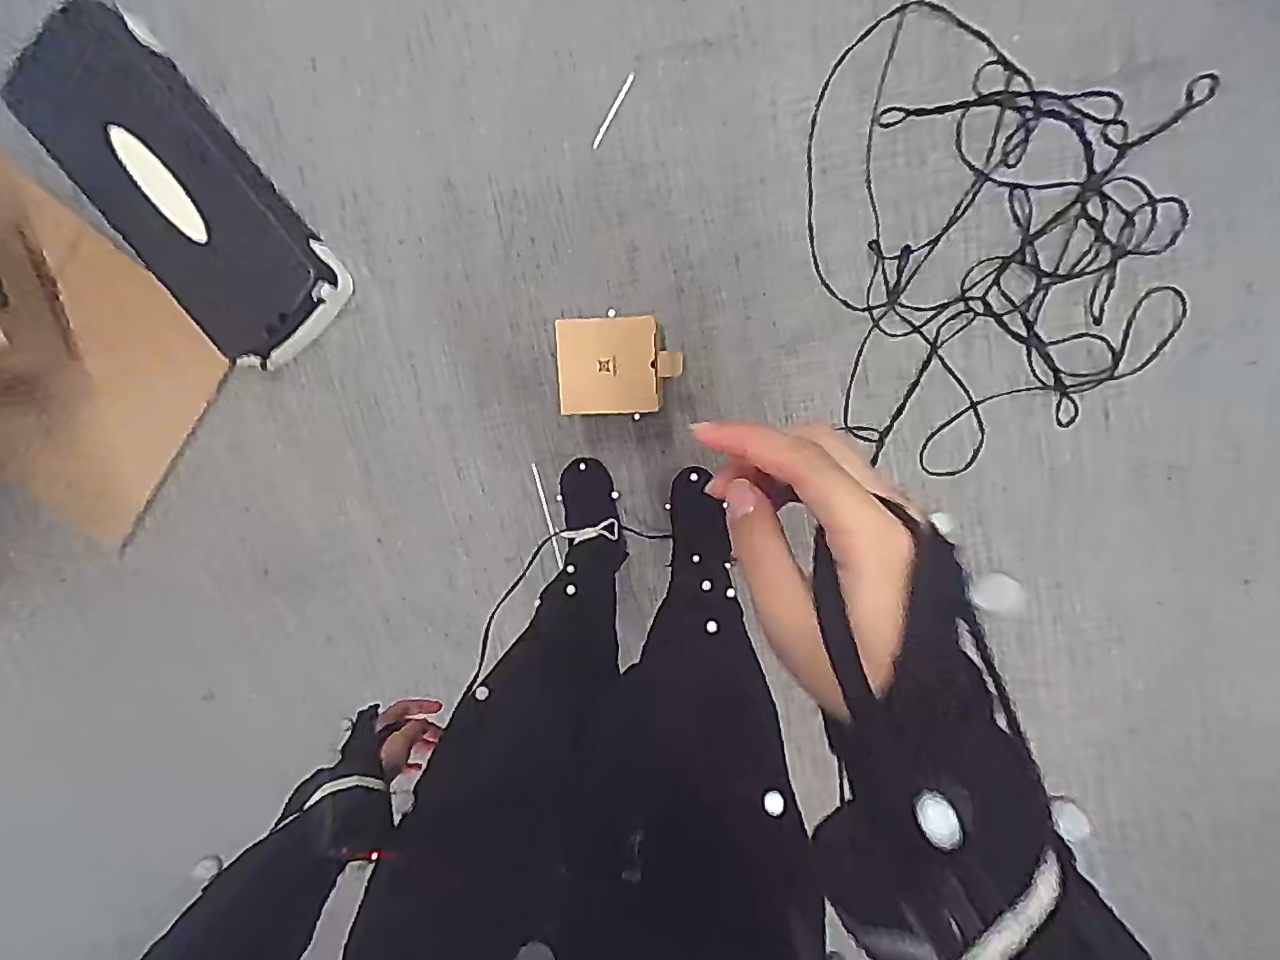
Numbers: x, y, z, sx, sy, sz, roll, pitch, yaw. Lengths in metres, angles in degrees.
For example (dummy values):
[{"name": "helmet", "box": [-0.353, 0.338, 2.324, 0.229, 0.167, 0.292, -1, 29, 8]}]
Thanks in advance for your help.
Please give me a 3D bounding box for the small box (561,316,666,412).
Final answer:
[{"name": "small box", "box": [-0.042, -0.213, 1.019, 0.179, 0.176, 0.168, -1, 100, 4]}]
